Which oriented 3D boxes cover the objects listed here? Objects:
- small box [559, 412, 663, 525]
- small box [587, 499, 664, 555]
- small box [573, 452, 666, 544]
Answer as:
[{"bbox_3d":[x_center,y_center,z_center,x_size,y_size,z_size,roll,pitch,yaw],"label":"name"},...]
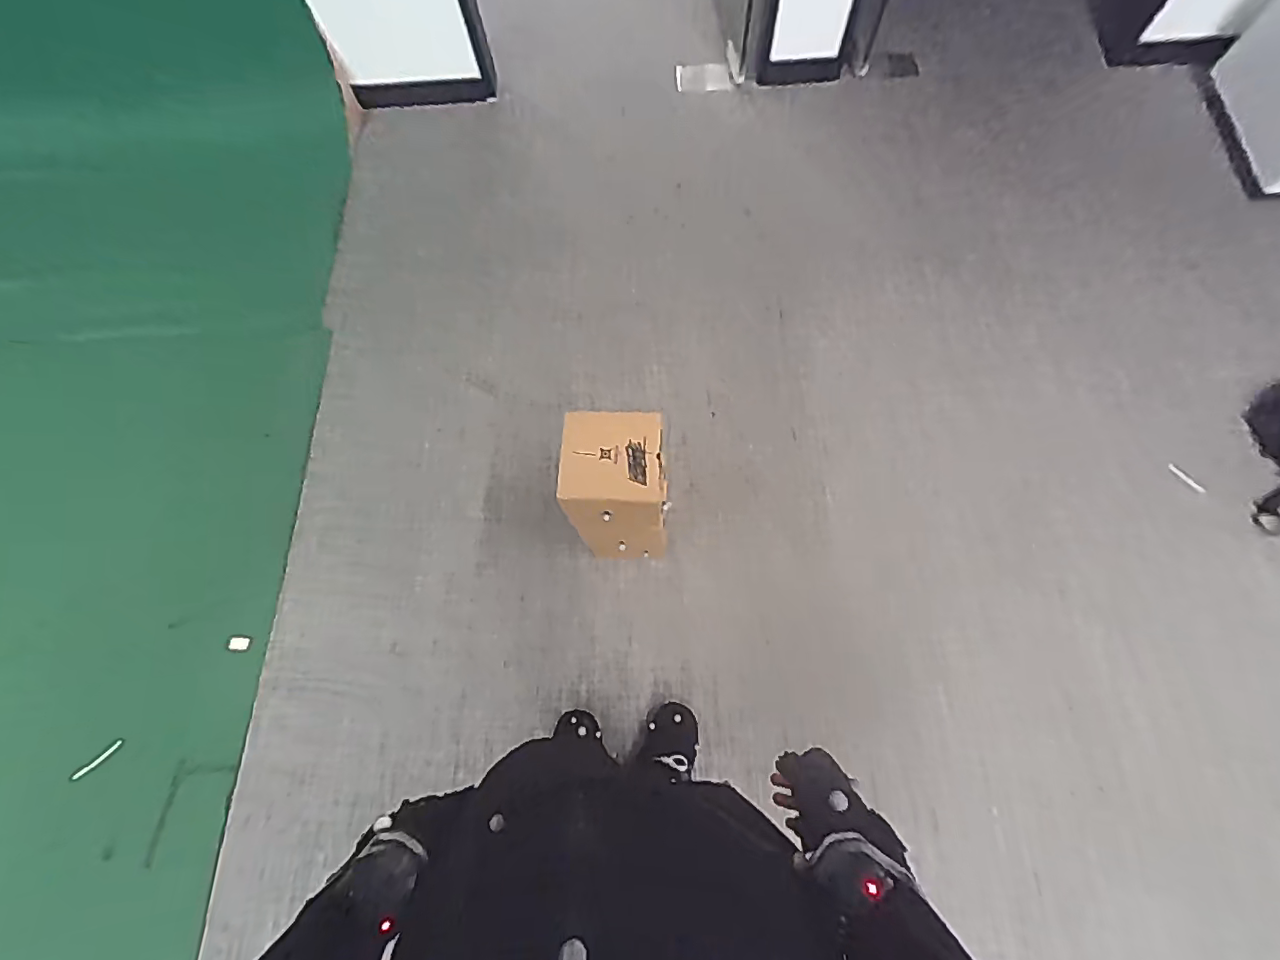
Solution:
[{"bbox_3d":[-0.048,-0.016,1.006,0.179,0.176,0.168,-1,71,1],"label":"small box"},{"bbox_3d":[-0.029,0.086,1.317,0.179,0.176,0.168,-1,70,4],"label":"small box"},{"bbox_3d":[-0.037,0.039,1.161,0.179,0.176,0.168,4,71,3],"label":"small box"}]
